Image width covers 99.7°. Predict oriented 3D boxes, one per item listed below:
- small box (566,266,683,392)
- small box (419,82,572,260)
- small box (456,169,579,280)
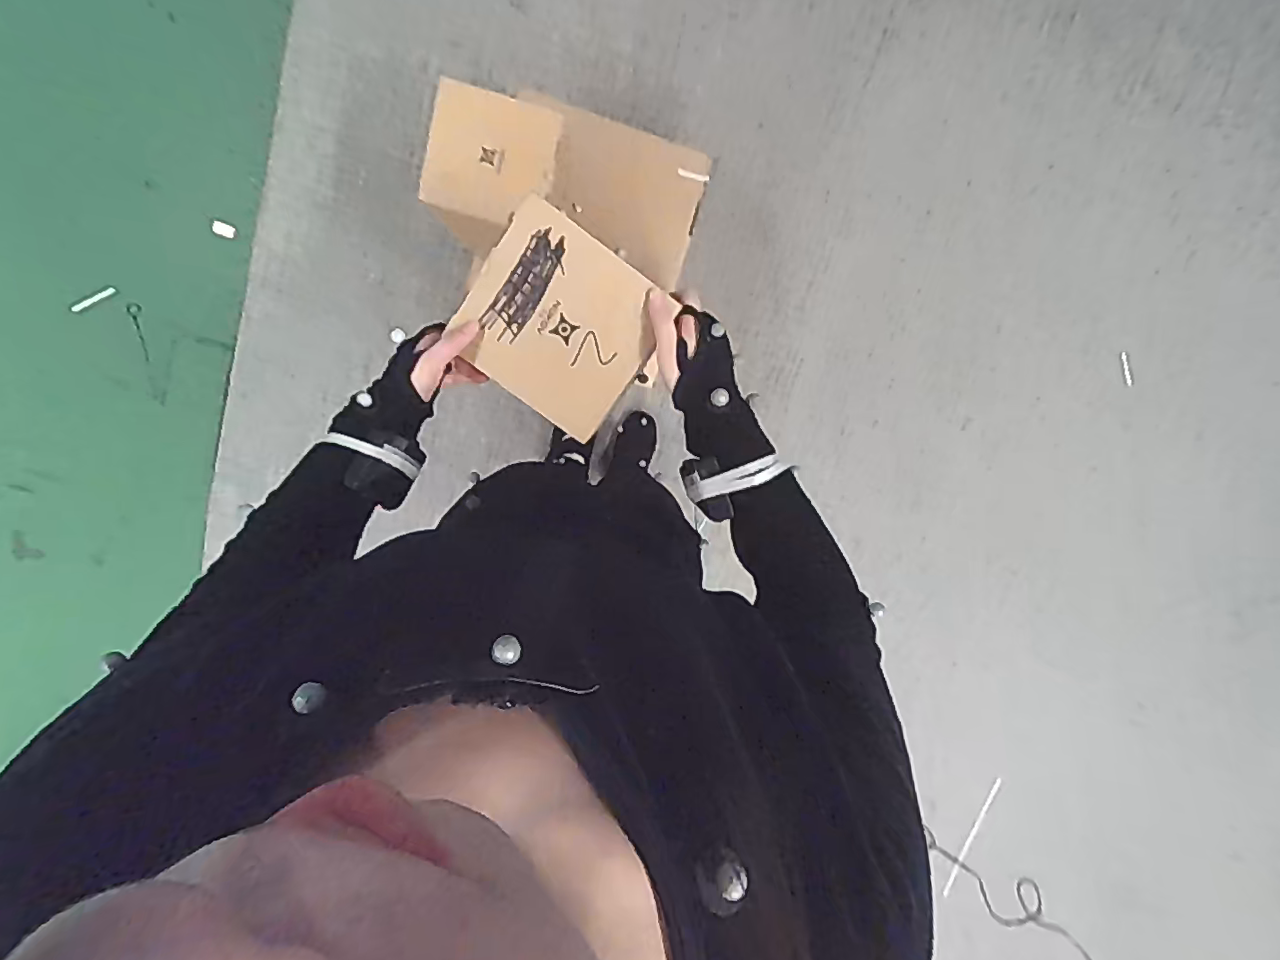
[{"bbox_3d":[-0.035,-0.282,1.042,0.168,0.176,0.179,20,98,-7],"label":"small box"},{"bbox_3d":[-0.212,-0.459,0.836,0.179,0.176,0.168,15,98,-6],"label":"small box"},{"bbox_3d":[-0.215,-0.482,0.997,0.179,0.176,0.168,14,98,-5],"label":"small box"}]
